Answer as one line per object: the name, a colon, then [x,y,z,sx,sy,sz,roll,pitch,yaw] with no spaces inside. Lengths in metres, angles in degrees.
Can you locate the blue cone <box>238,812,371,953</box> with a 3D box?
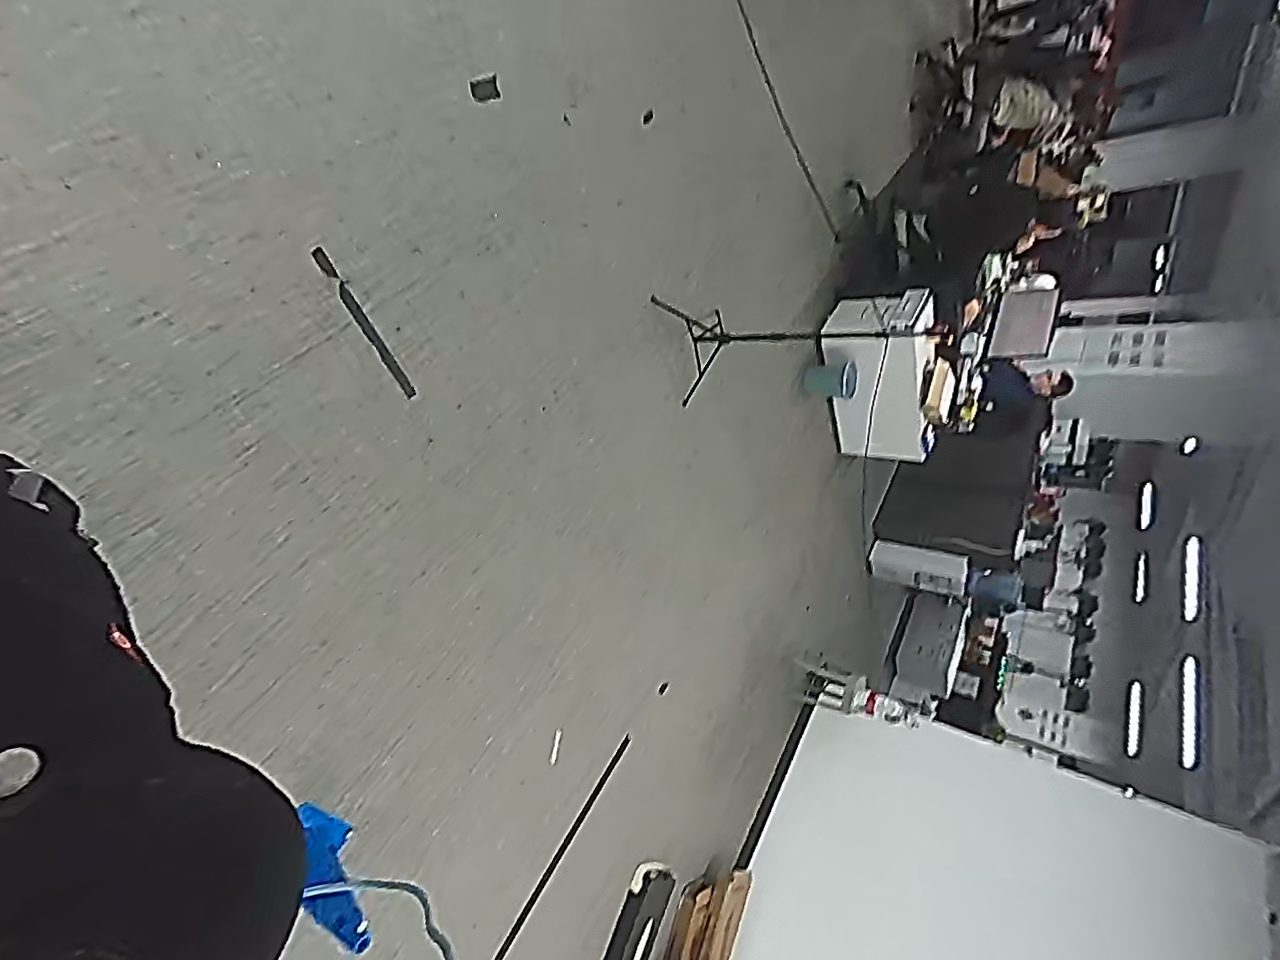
blue cone: [-0.744,0.975,1.261,0.192,0.380,0.193,-51,134,-33]
